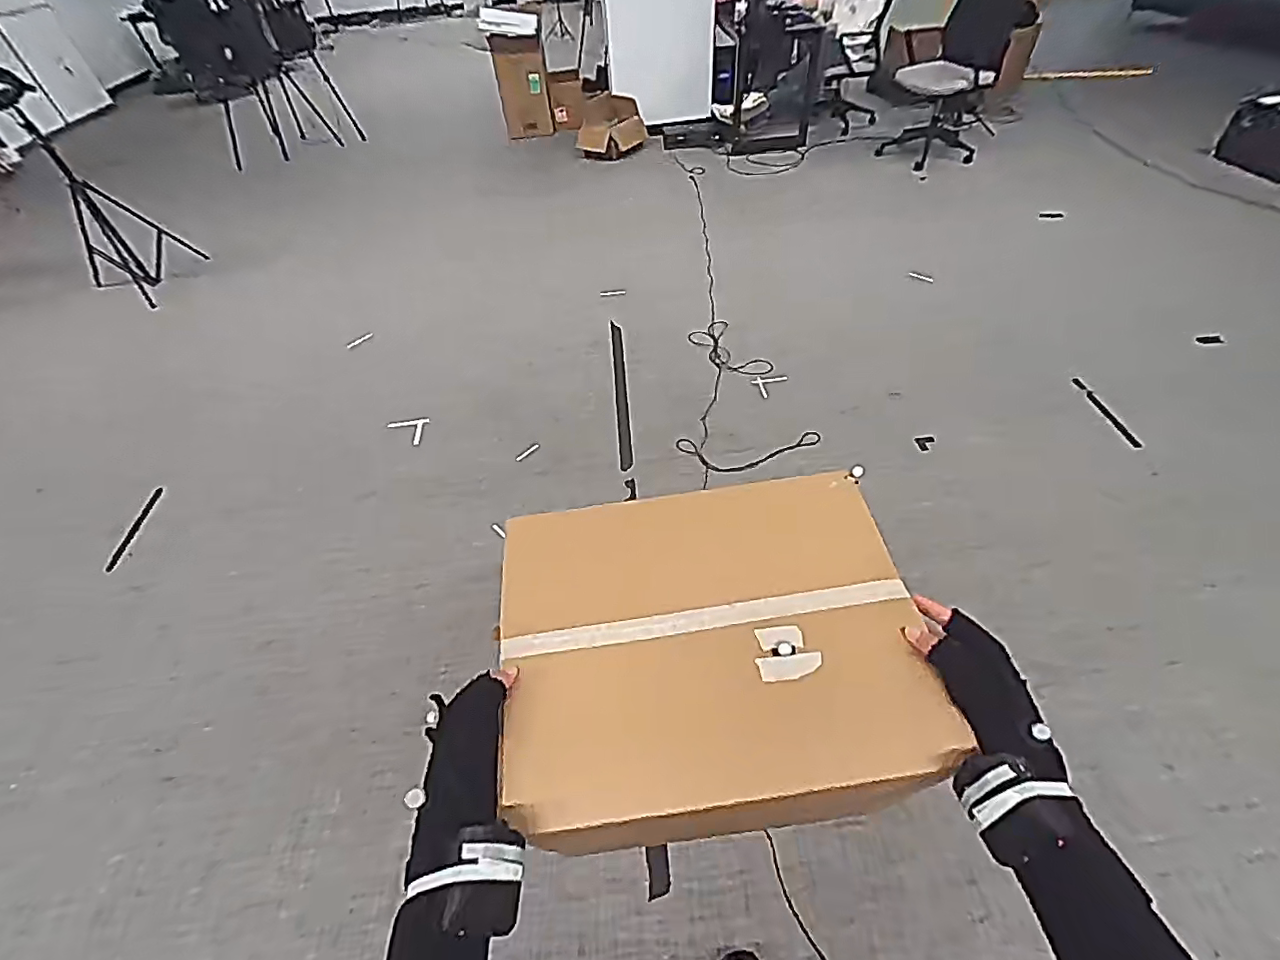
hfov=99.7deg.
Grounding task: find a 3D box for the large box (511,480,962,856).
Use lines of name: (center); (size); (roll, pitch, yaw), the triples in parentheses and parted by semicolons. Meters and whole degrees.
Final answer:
large box: (0.074, 0.239, 0.668); (0.408, 0.320, 0.320); (-8, 53, -2)
